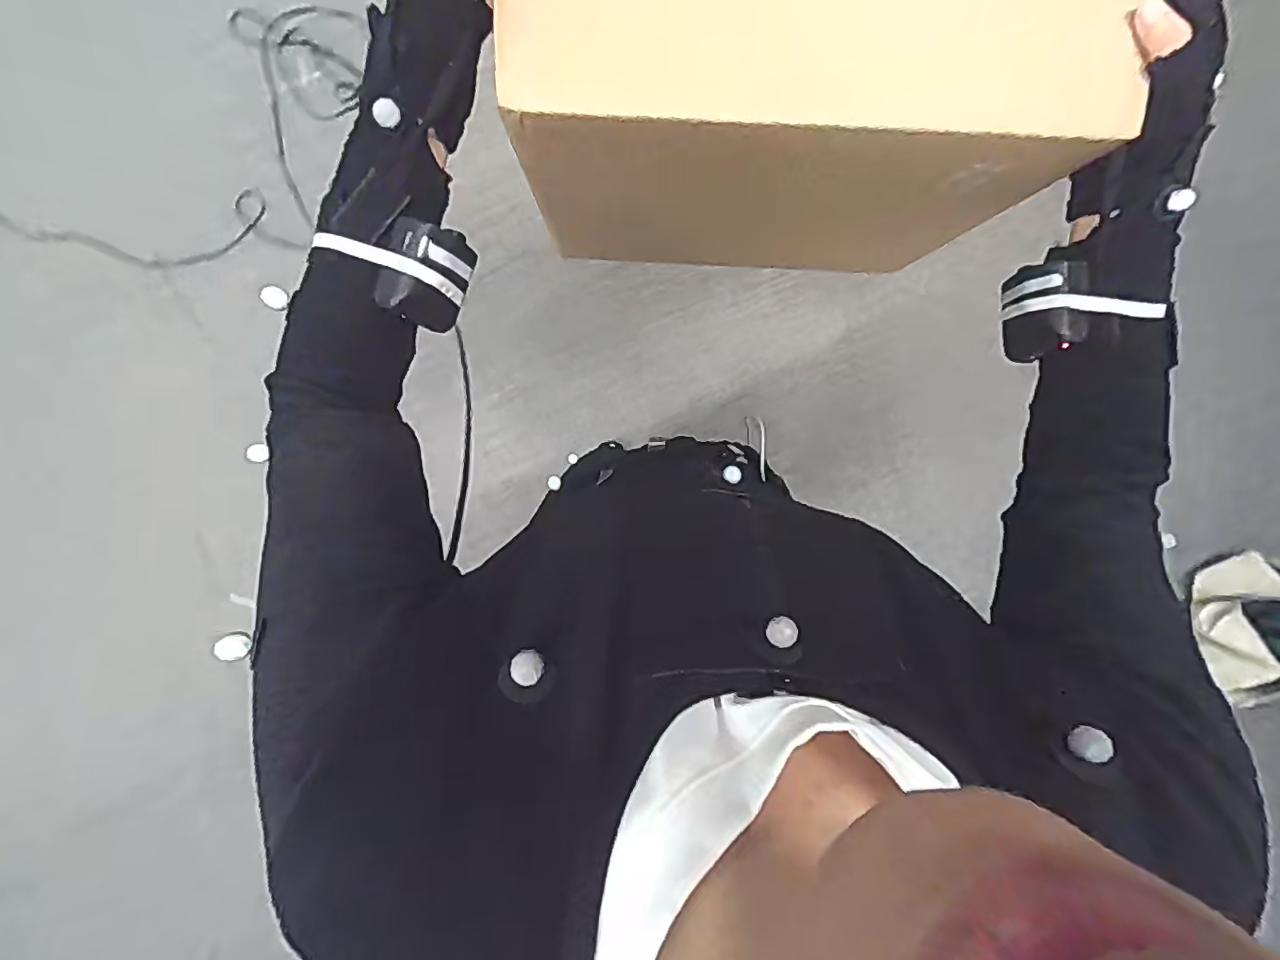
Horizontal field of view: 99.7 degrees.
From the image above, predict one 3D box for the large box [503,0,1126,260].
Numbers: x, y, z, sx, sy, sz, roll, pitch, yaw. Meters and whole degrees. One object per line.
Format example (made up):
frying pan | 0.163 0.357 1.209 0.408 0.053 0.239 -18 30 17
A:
large box | 0.105 -0.399 0.479 0.408 0.320 0.320 0 97 -2
